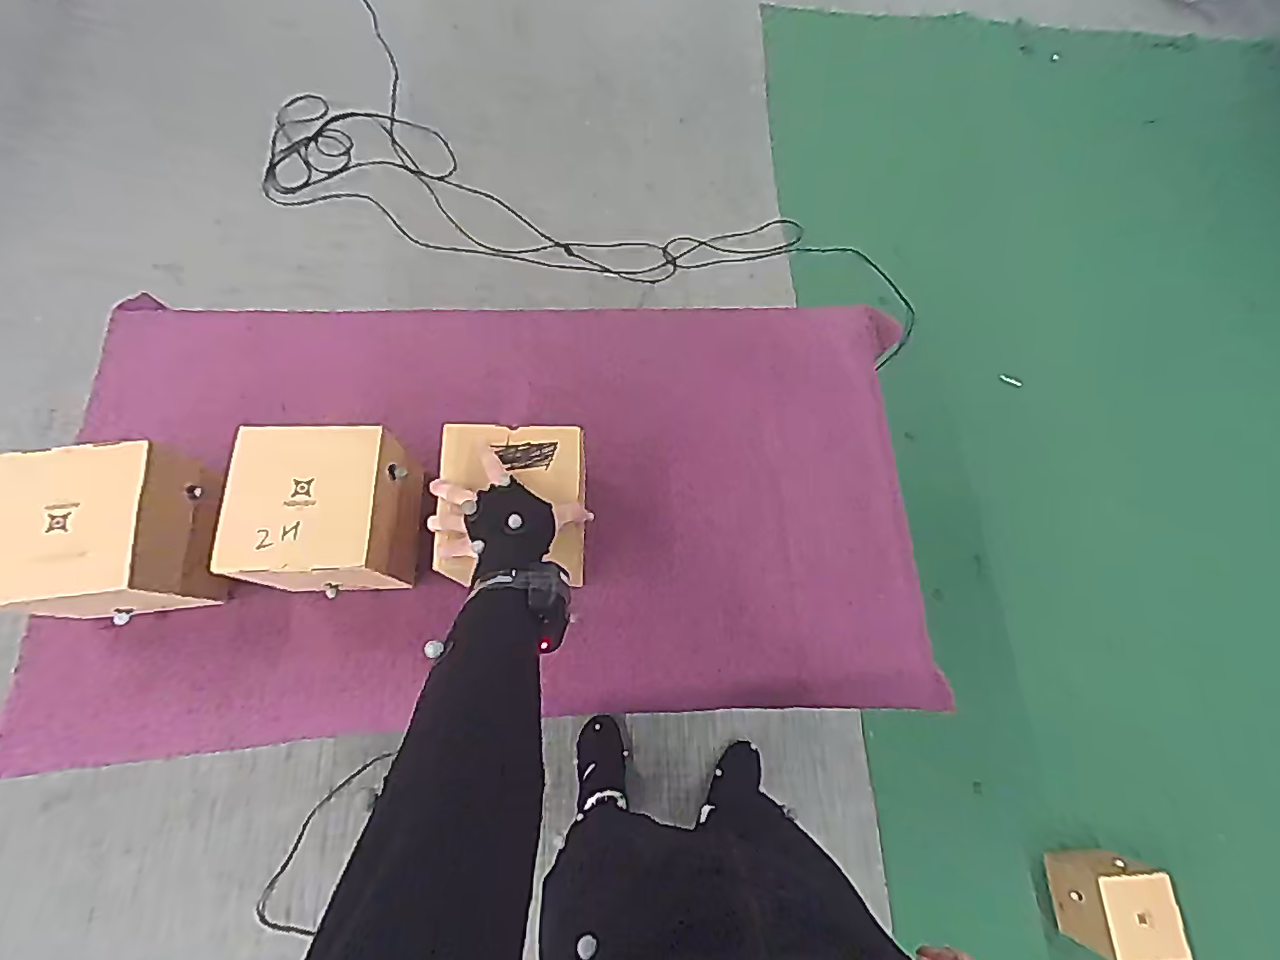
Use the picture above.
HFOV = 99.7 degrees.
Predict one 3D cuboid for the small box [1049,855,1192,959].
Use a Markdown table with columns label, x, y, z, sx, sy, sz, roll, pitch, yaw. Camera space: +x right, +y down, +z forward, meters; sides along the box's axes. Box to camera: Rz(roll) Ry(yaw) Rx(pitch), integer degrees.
| label | x | y | z | sx | sy | sz | roll | pitch | yaw |
| --- | --- | --- | --- | --- | --- | --- | --- | --- | --- |
| small box | 1.098 | 0.997 | 1.257 | 0.179 | 0.176 | 0.168 | 0 | 71 | -5 |

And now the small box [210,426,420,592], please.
| label | x | y | z | sx | sy | sz | roll | pitch | yaw |
| --- | --- | --- | --- | --- | --- | --- | --- | --- | --- |
| small box | -0.394 | 0.044 | 0.693 | 0.168 | 0.176 | 0.179 | -1 | 72 | -4 |

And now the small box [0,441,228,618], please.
| label | x | y | z | sx | sy | sz | roll | pitch | yaw |
| --- | --- | --- | --- | --- | --- | --- | --- | --- | --- |
| small box | -0.641 | 0.068 | 0.668 | 0.168 | 0.176 | 0.179 | -6 | 73 | -6 |

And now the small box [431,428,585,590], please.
| label | x | y | z | sx | sy | sz | roll | pitch | yaw |
| --- | --- | --- | --- | --- | --- | --- | --- | --- | --- |
| small box | -0.159 | 0.045 | 0.711 | 0.168 | 0.176 | 0.179 | 1 | 73 | -4 |
